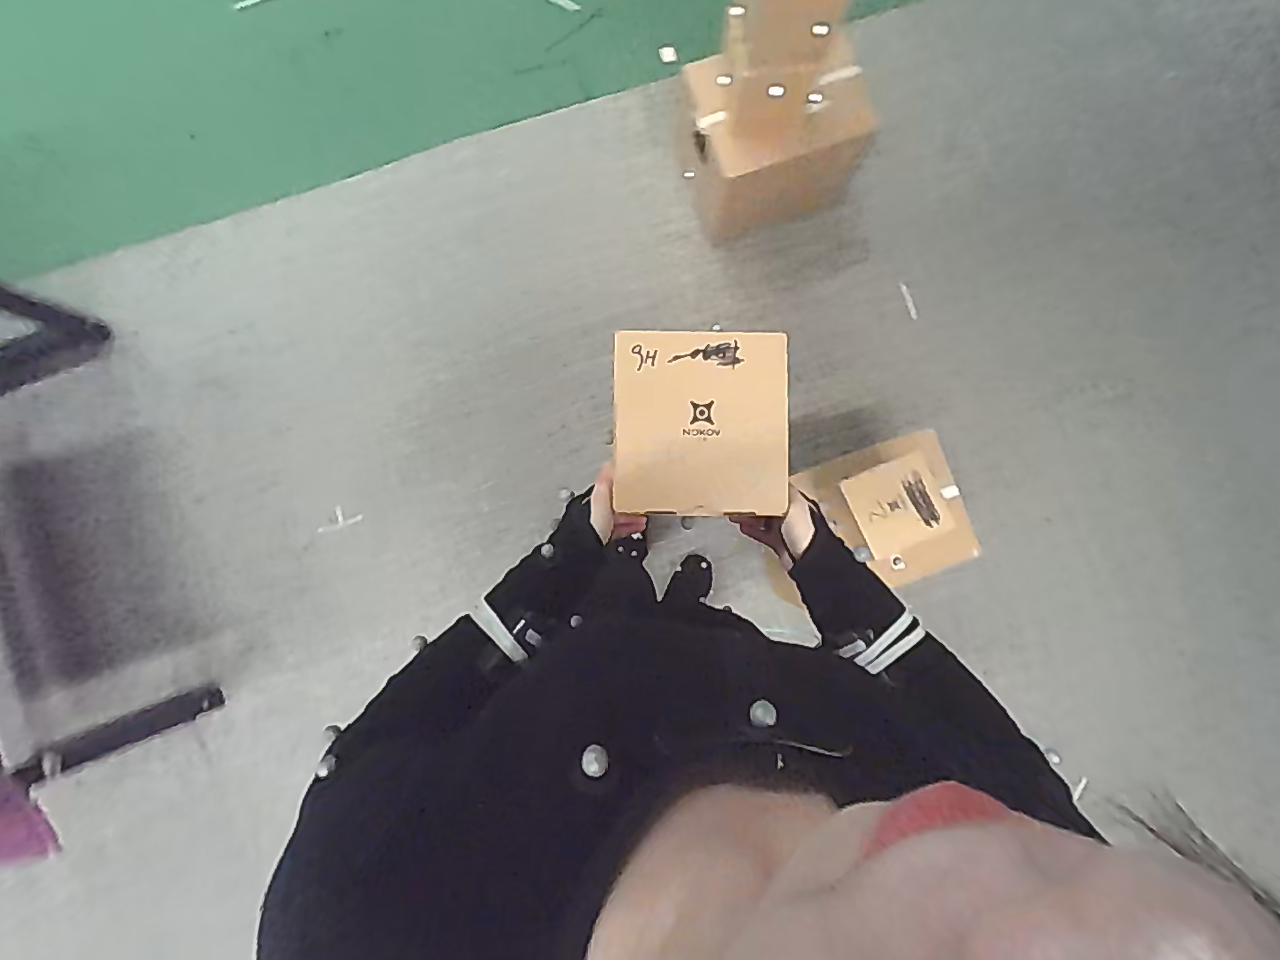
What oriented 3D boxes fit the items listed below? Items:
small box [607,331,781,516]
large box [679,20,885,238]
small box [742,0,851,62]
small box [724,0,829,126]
[{"bbox_3d":[0.050,-0.053,0.589,0.168,0.176,0.179,0,89,-2],"label":"small box"},{"bbox_3d":[0.347,-0.917,1.439,0.408,0.320,0.320,-19,86,-2],"label":"large box"},{"bbox_3d":[0.300,-0.948,1.035,0.179,0.176,0.168,-5,84,1],"label":"small box"},{"bbox_3d":[0.294,-0.926,1.197,0.179,0.176,0.168,-8,85,0],"label":"small box"}]
